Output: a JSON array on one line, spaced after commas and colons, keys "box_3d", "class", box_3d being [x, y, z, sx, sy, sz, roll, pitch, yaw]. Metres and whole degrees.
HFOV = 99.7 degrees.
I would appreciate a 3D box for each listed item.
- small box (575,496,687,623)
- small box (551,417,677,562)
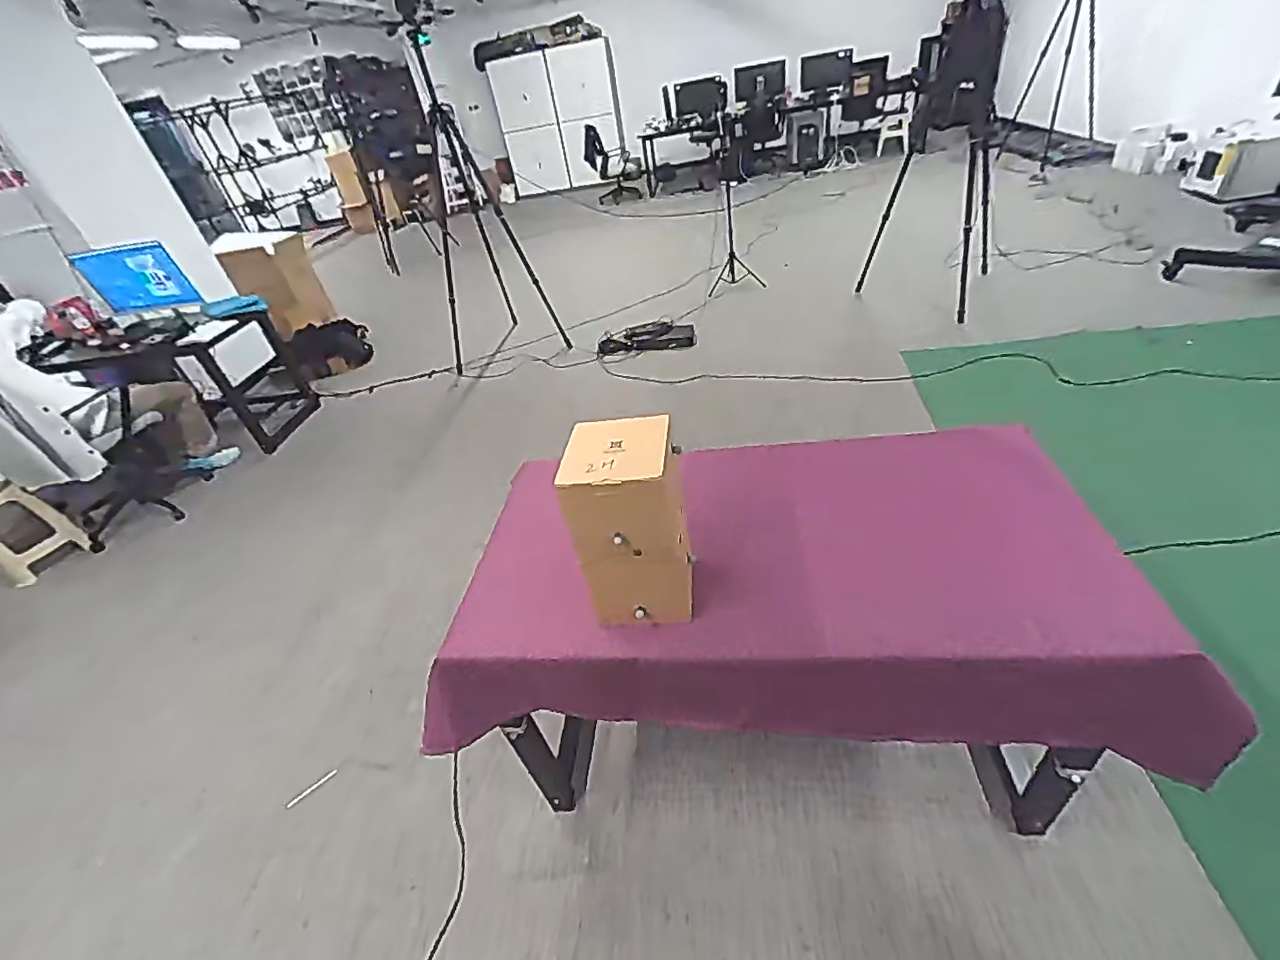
[{"box_3d": [-0.005, 0.148, 0.996, 0.179, 0.176, 0.168, -4, 38, 9], "class": "small box"}, {"box_3d": [-0.031, 0.016, 0.900, 0.168, 0.176, 0.179, -4, 38, 11], "class": "small box"}]
